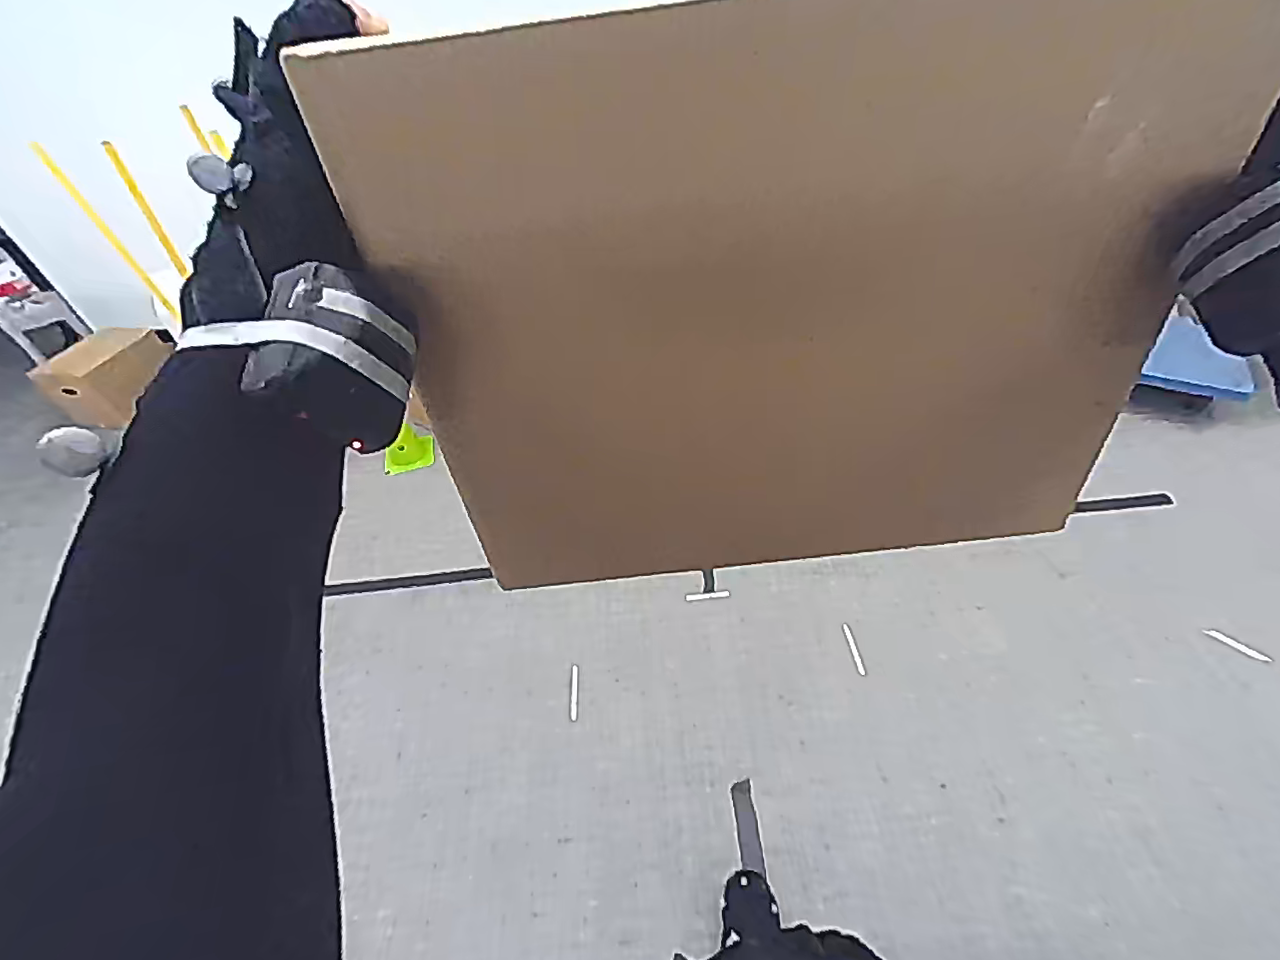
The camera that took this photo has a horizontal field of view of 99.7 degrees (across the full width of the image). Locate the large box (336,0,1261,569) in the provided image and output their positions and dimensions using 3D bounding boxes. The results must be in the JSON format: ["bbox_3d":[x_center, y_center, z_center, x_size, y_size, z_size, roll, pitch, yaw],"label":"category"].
[{"bbox_3d":[0.072,-0.161,0.428,0.408,0.320,0.320,-7,38,1],"label":"large box"}]
